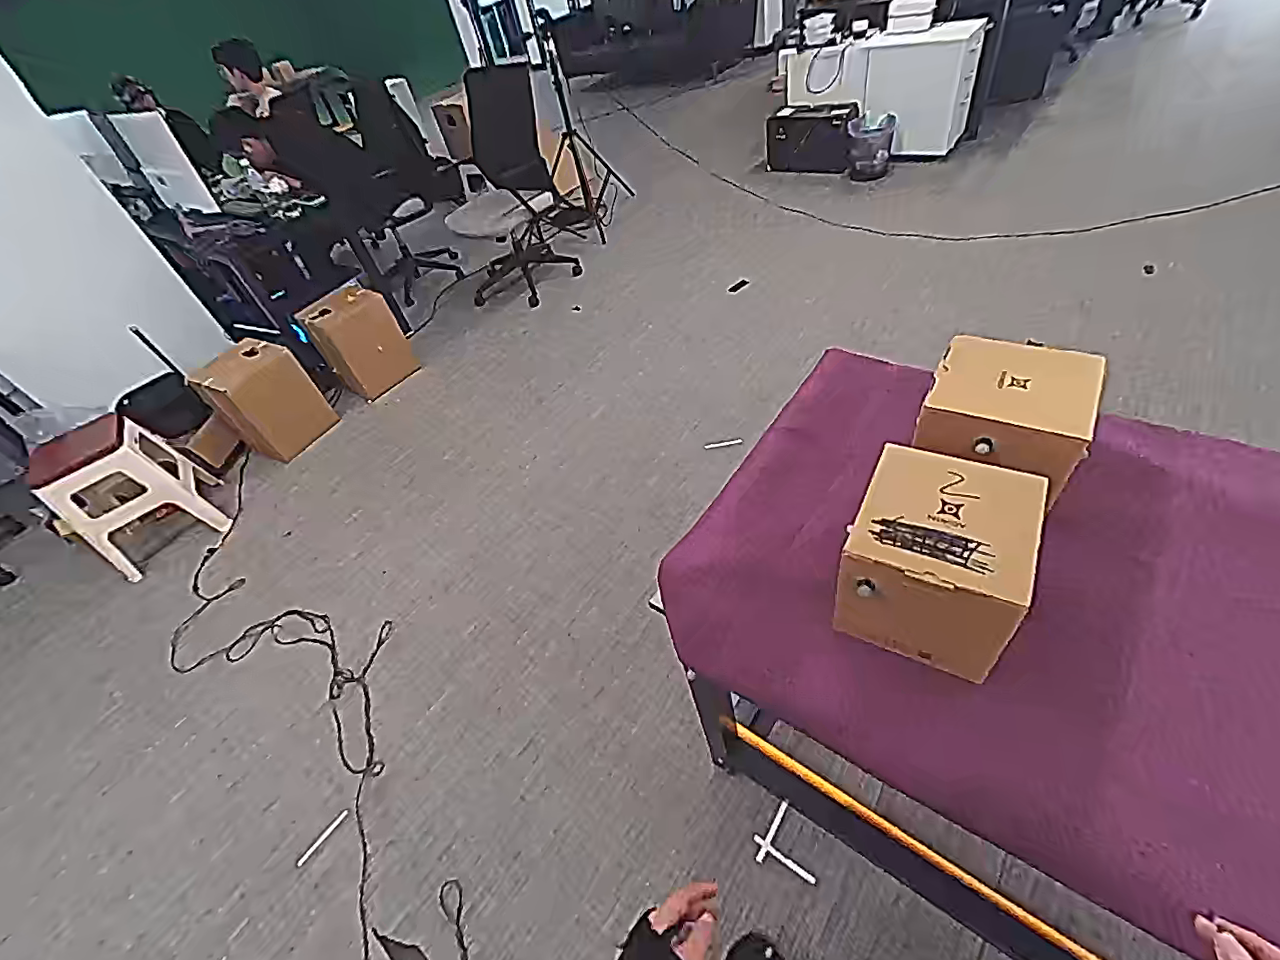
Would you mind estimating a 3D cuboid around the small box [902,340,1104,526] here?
[{"bbox_3d":[0.483,-0.062,0.738,0.179,0.176,0.168,20,55,29],"label":"small box"}]
